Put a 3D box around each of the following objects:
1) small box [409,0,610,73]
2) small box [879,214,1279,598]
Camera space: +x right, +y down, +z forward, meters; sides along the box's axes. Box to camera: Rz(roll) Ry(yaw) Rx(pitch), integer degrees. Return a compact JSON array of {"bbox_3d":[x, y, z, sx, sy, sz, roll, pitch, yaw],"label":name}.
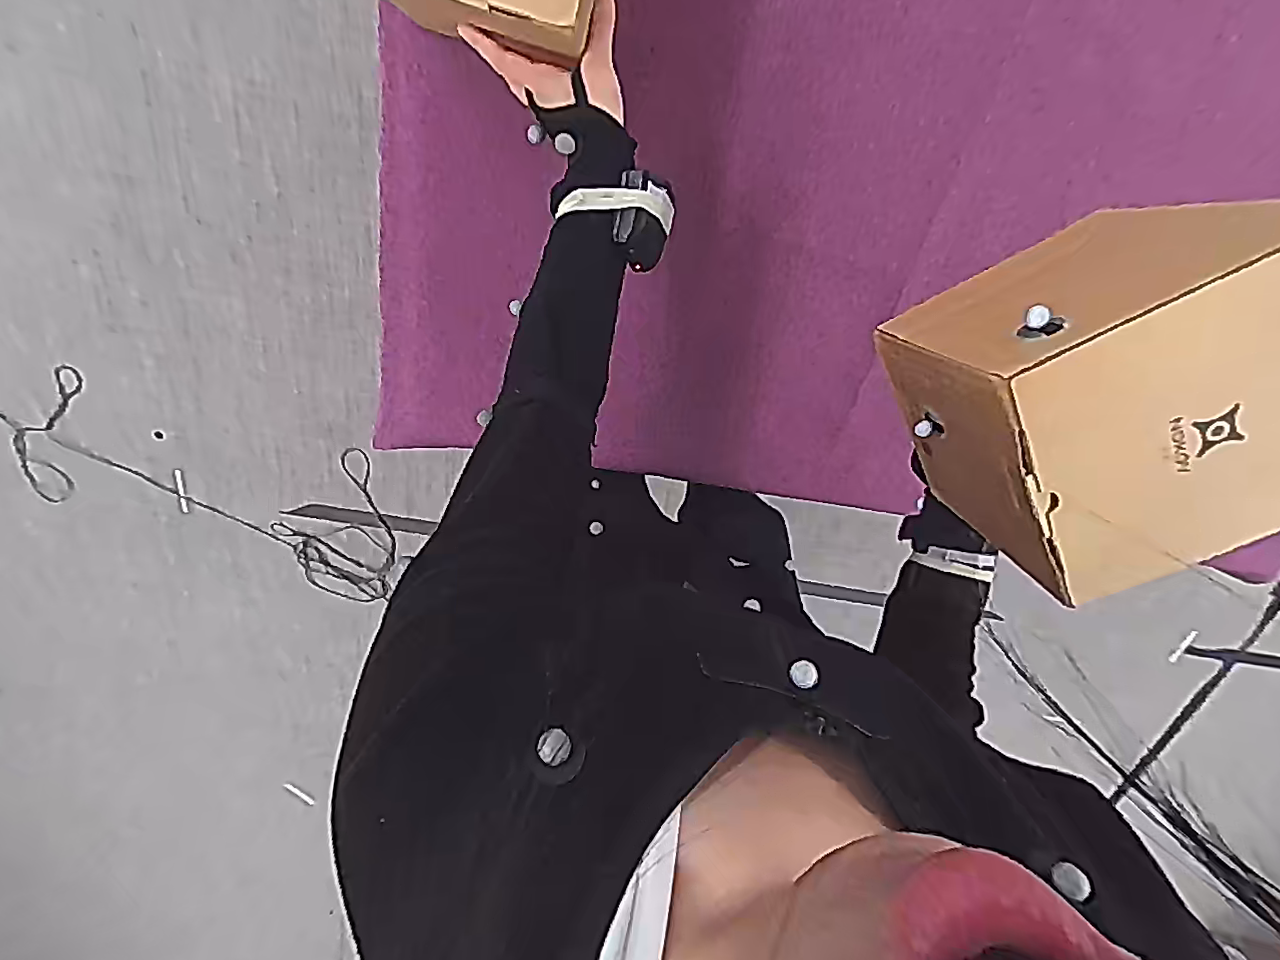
[{"bbox_3d":[-0.098,-0.439,0.397,0.168,0.176,0.179,13,117,-7],"label":"small box"},{"bbox_3d":[0.298,-0.061,0.363,0.179,0.176,0.168,-27,112,12],"label":"small box"}]
